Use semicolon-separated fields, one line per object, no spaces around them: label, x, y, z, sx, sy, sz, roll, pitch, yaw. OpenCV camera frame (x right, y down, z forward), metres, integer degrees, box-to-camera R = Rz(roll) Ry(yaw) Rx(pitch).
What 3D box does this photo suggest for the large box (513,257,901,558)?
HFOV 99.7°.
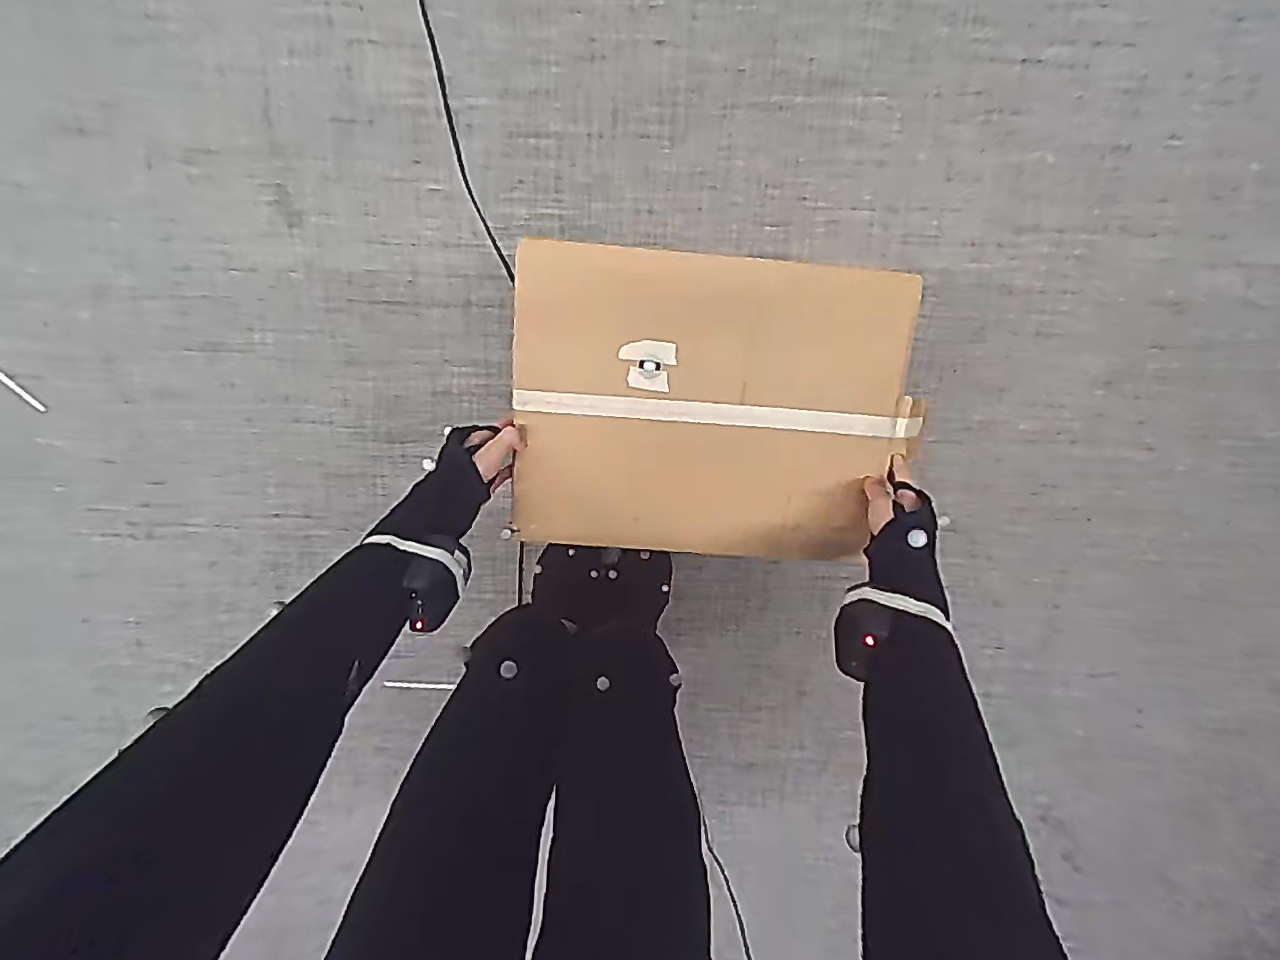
large box;0.063;-0.104;0.729;0.408;0.320;0.320;4;104;-2
